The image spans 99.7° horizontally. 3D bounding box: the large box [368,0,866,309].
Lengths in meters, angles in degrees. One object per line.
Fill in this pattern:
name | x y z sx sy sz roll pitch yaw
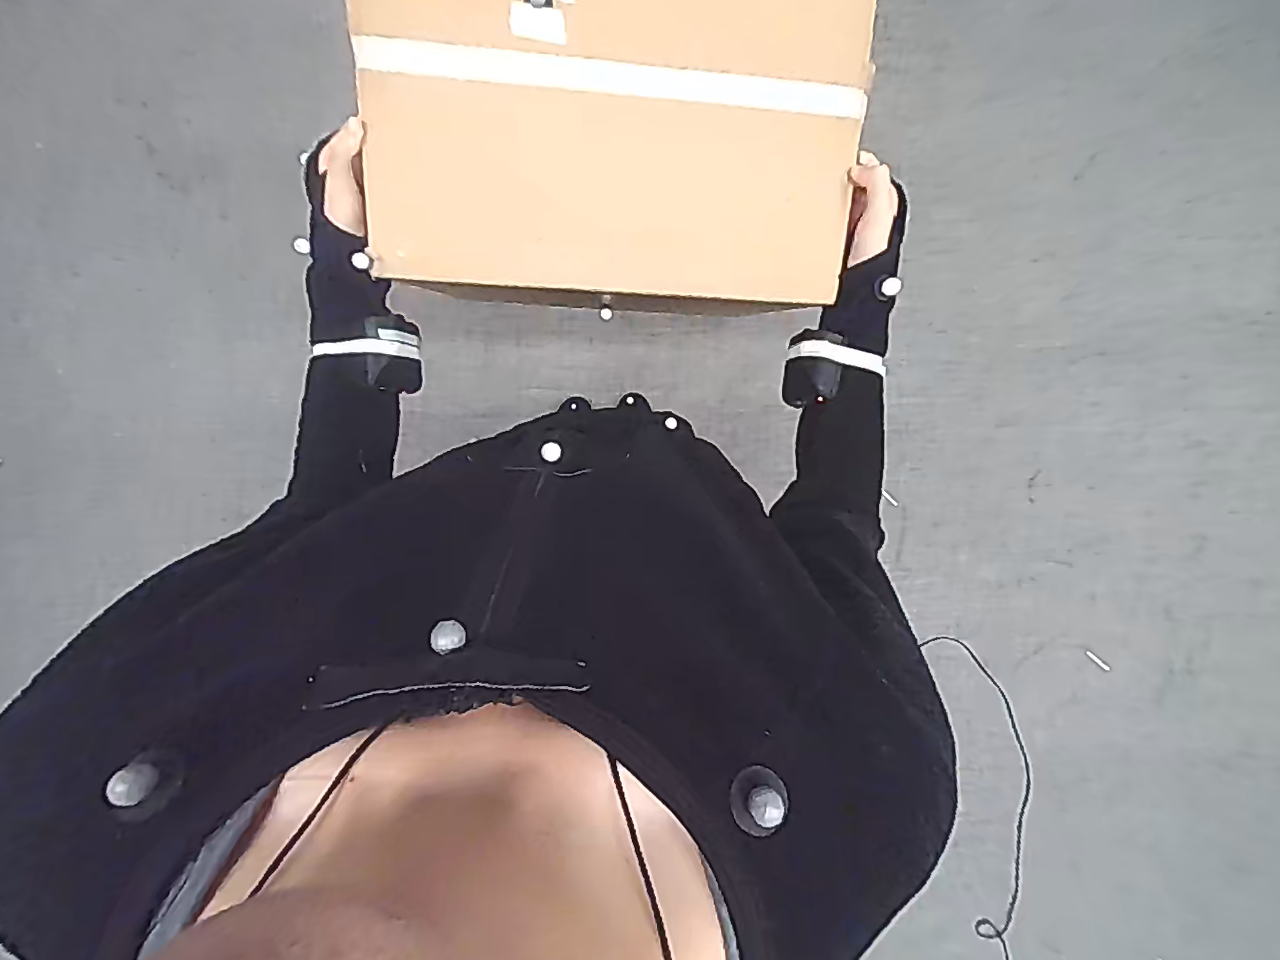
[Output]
large box | -0.027 -0.356 0.589 0.408 0.320 0.320 1 104 -6
